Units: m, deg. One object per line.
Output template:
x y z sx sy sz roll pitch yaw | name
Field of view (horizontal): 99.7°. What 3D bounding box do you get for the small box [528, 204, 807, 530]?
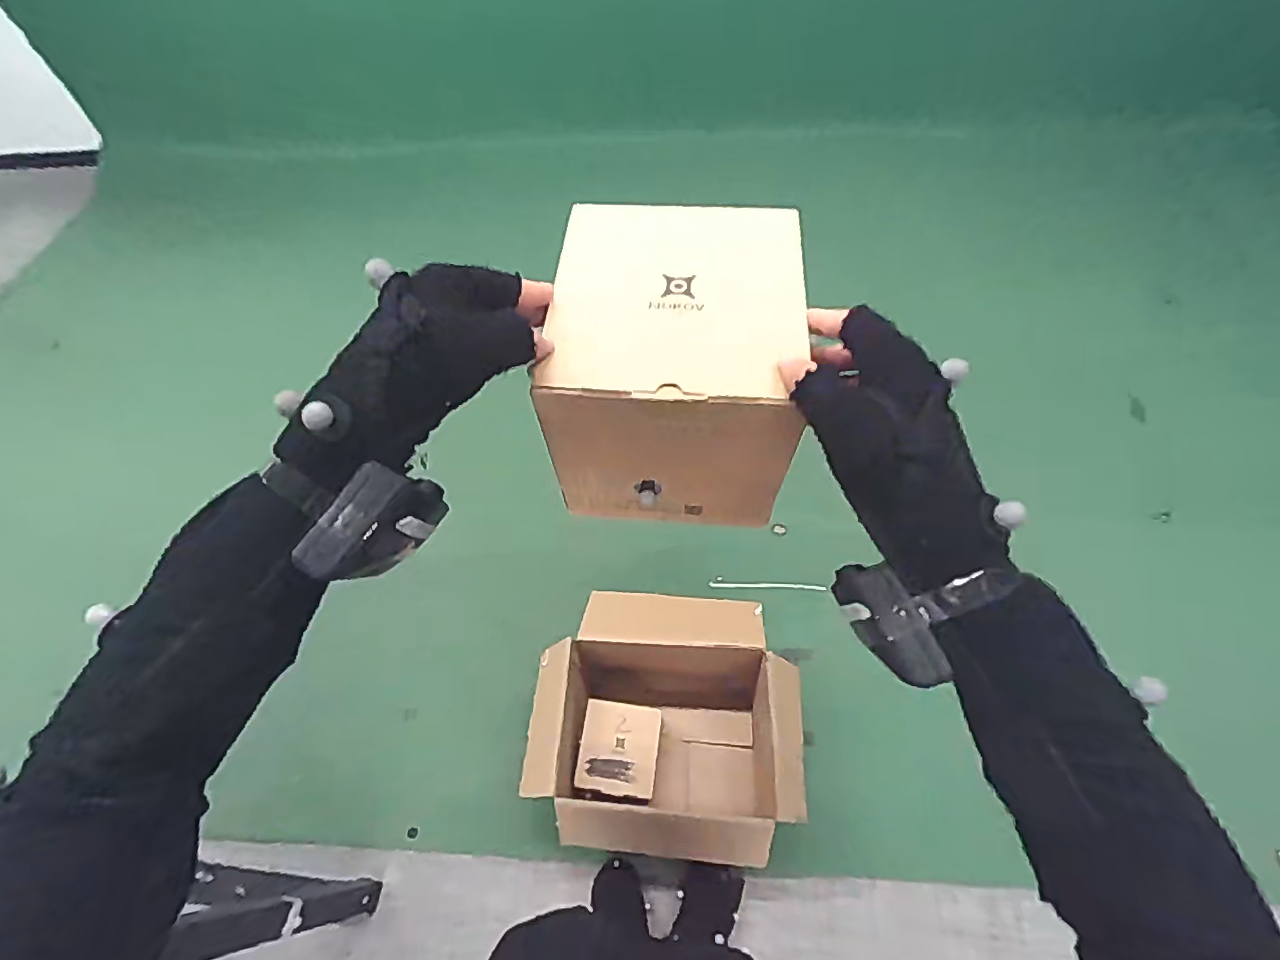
0.025 -0.081 0.420 0.168 0.176 0.179 5 61 4 | small box
